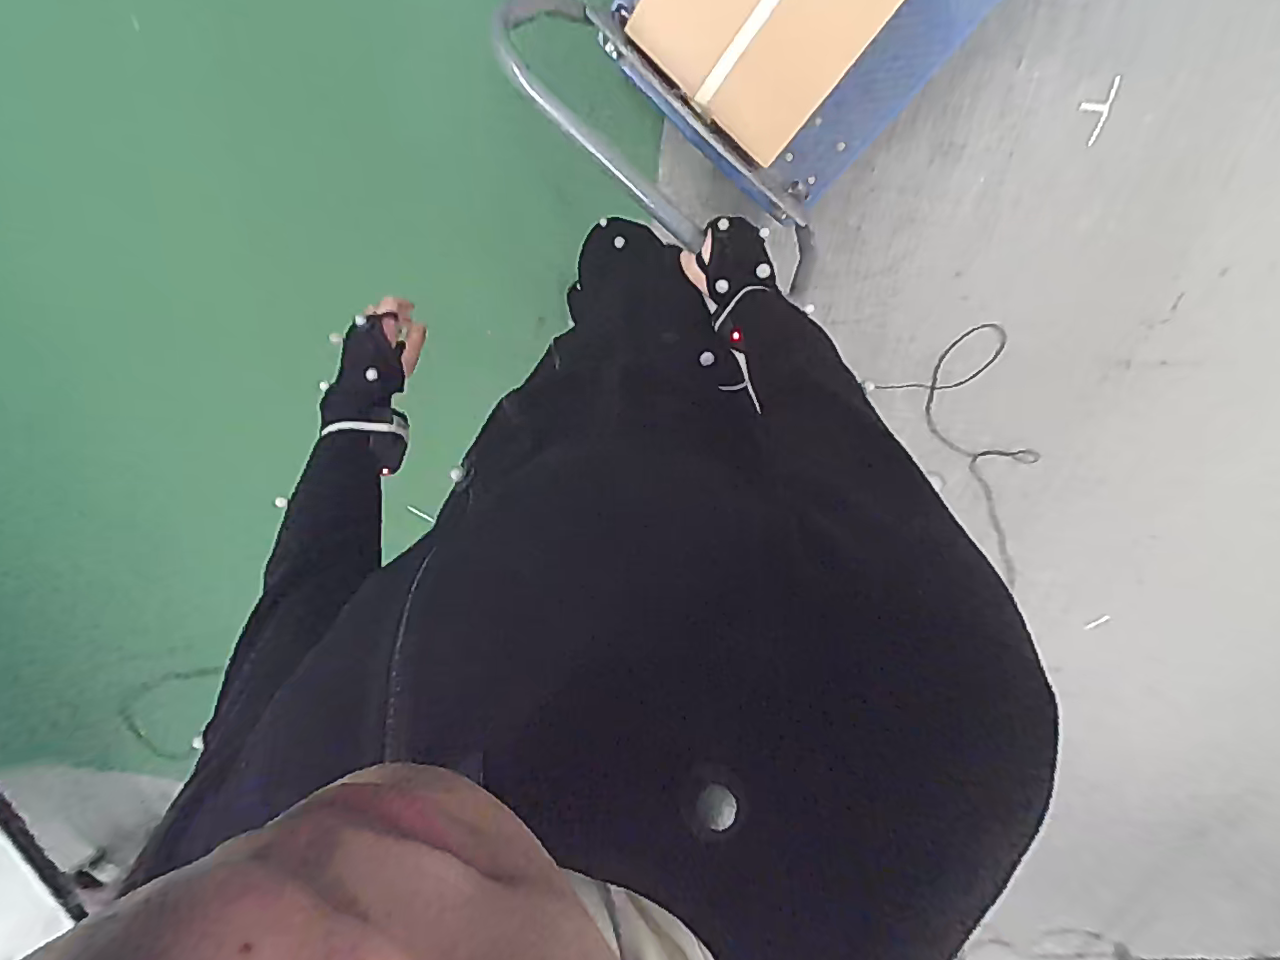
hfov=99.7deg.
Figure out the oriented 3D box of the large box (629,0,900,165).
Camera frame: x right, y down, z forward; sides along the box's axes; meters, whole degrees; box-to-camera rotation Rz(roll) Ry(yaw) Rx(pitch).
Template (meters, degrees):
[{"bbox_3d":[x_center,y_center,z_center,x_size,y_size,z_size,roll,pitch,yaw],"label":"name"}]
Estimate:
[{"bbox_3d":[0.237,-0.825,0.919,0.320,0.320,0.408,36,121,-14],"label":"large box"}]
